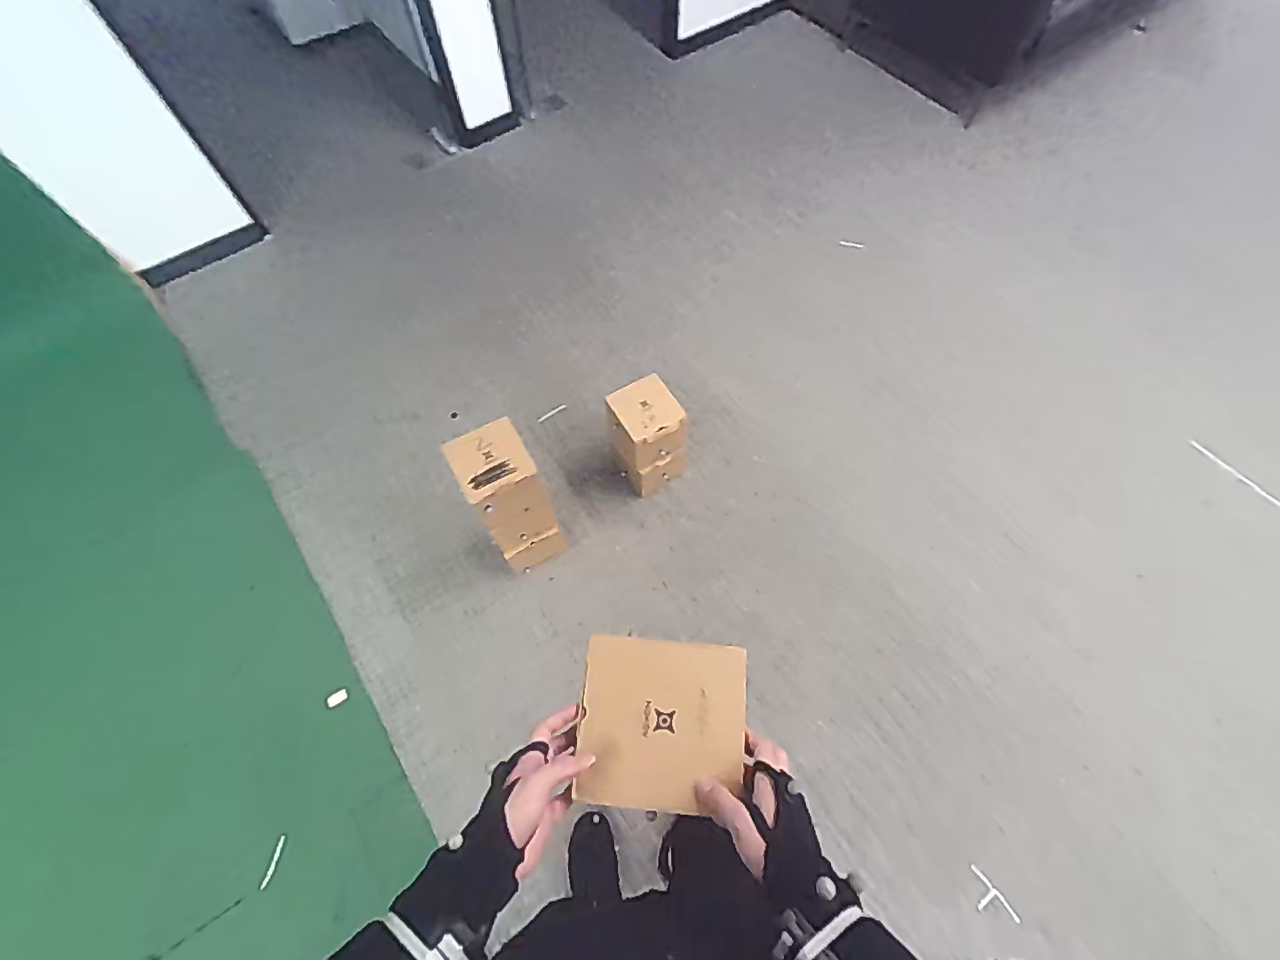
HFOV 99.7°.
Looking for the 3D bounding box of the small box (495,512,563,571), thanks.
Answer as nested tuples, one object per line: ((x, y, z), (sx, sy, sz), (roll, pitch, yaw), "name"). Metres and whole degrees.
((-0.340, 0.147, 1.573), (0.168, 0.176, 0.179), (-28, 66, -14), "small box")

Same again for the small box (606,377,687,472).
((0.015, -0.155, 1.540), (0.168, 0.176, 0.179), (-27, 67, -11), "small box")

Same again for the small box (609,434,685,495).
((0.020, -0.075, 1.683), (0.168, 0.176, 0.179), (-30, 68, -15), "small box")

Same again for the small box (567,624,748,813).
((0.026, 0.275, 0.638), (0.179, 0.176, 0.168), (5, 67, 5), "small box")

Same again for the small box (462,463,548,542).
((-0.352, 0.065, 1.441), (0.179, 0.176, 0.168), (1, 65, 1), "small box")
